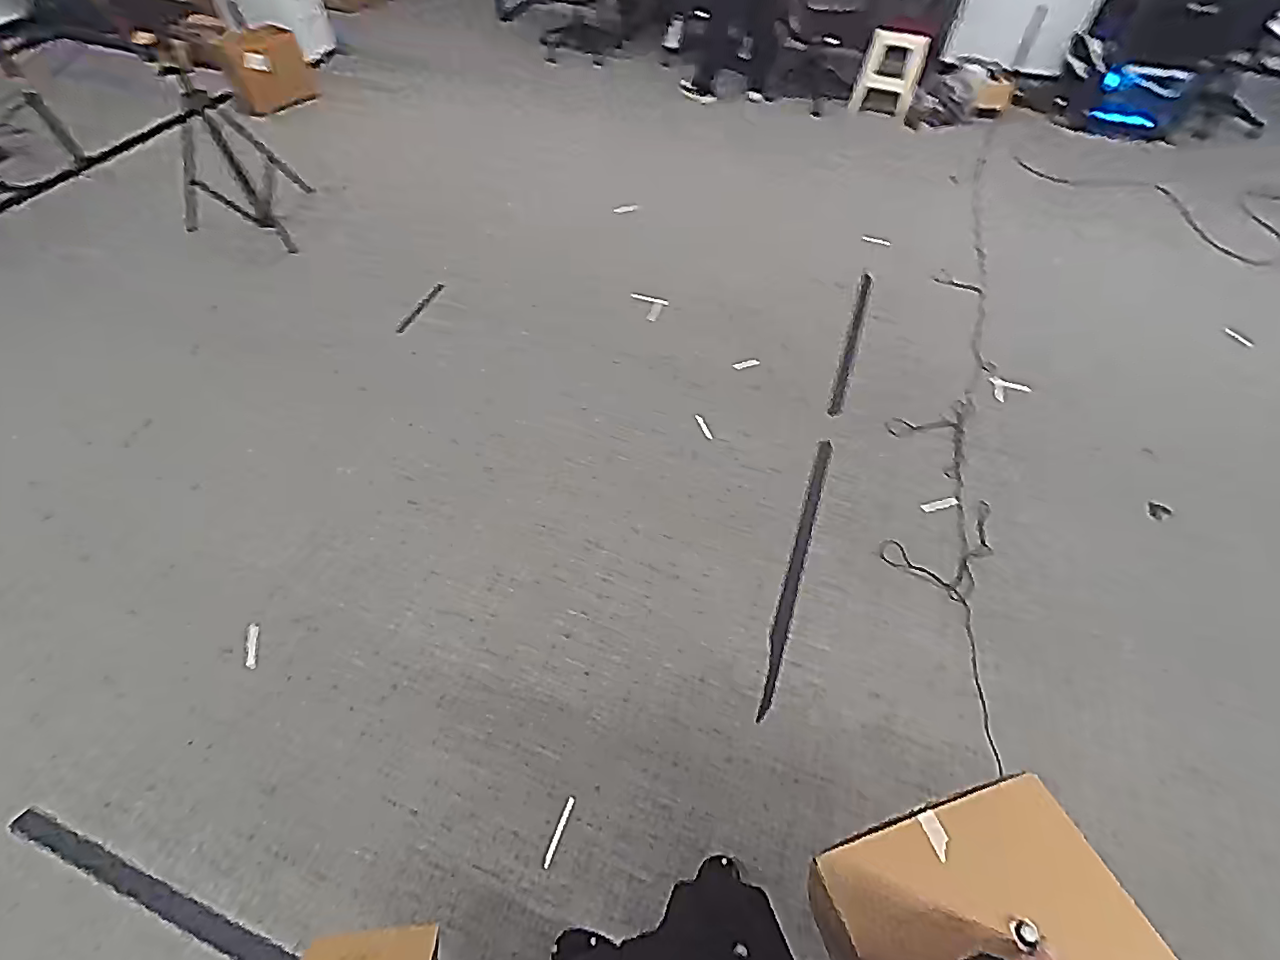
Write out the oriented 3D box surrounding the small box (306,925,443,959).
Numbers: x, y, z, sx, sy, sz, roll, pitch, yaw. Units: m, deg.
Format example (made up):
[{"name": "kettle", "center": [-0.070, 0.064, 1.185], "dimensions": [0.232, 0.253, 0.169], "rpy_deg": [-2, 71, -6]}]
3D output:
[{"name": "small box", "center": [-0.347, 0.703, 0.662], "dimensions": [0.168, 0.179, 0.176], "rpy_deg": [4, 87, -10]}]
